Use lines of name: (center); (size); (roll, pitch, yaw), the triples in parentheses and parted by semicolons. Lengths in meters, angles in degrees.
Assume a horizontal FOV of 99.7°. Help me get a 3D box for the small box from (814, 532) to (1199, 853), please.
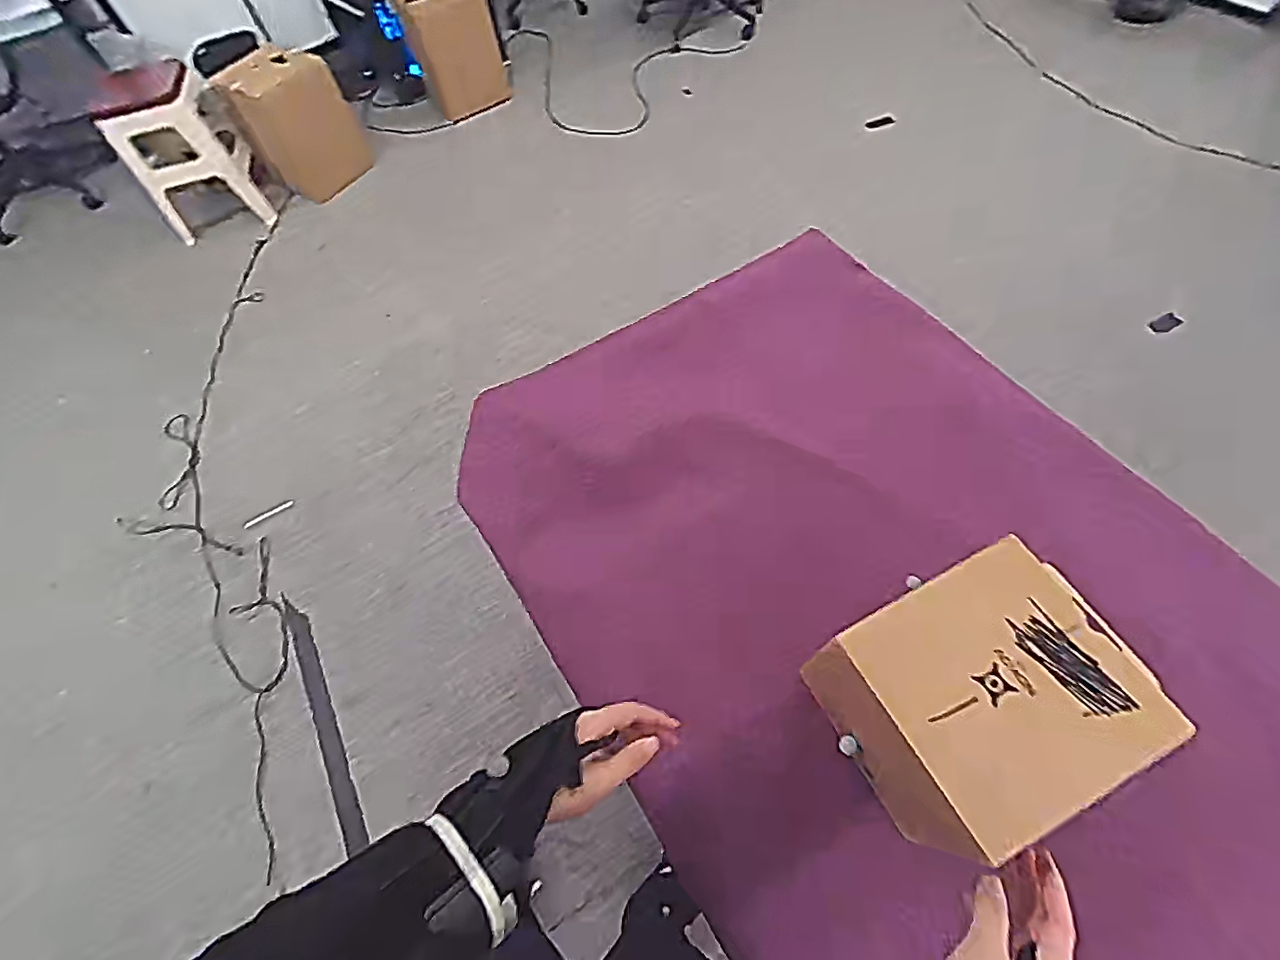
small box: (0.276, 0.176, 0.461); (0.179, 0.176, 0.168); (-26, 62, -8)
